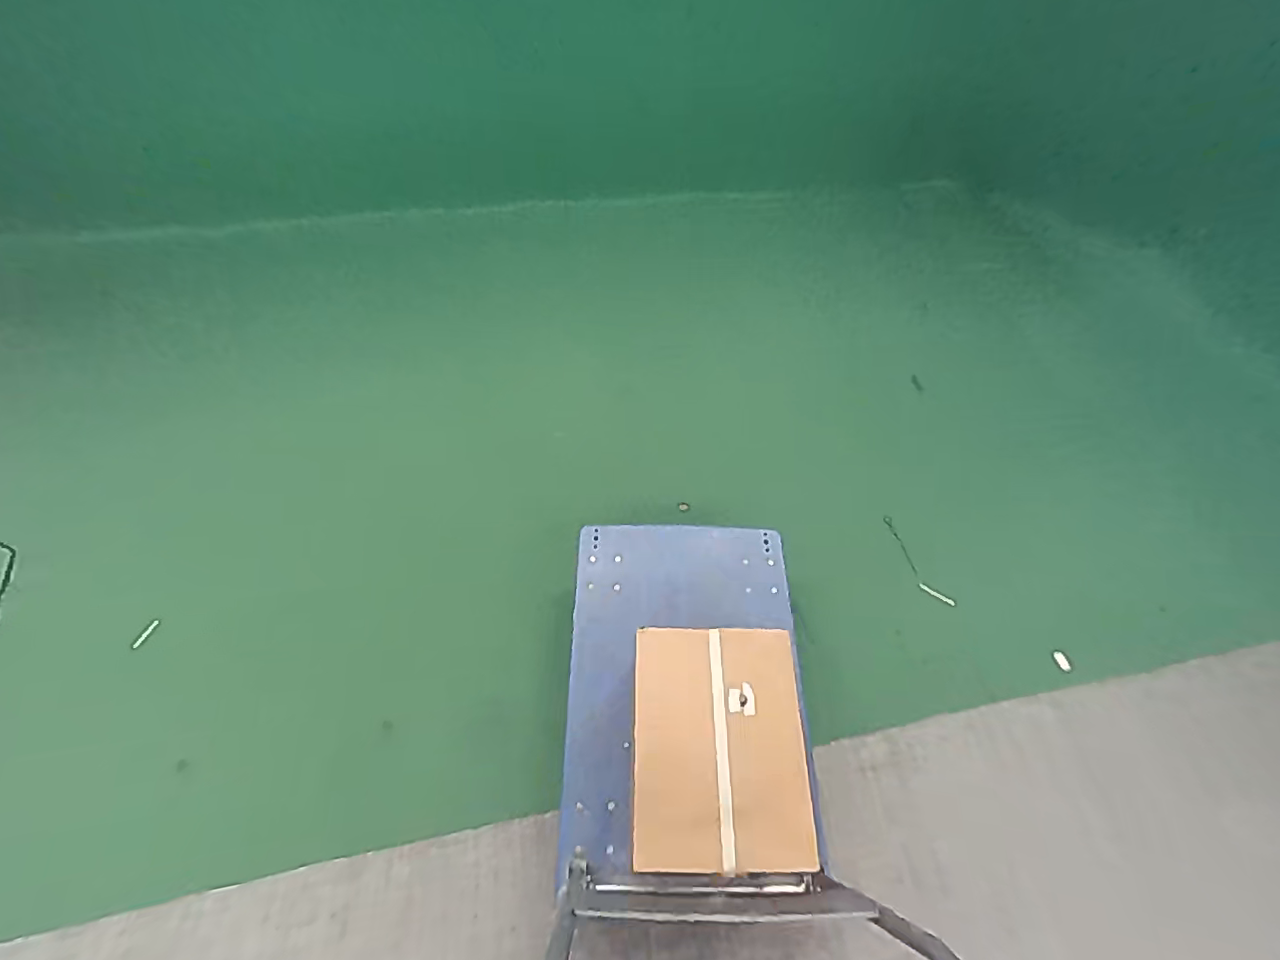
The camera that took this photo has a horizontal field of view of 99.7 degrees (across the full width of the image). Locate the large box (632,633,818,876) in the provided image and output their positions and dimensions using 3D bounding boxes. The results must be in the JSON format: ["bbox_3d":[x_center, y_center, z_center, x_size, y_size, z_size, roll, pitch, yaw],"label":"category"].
[{"bbox_3d":[0.139,0.560,1.120,0.320,0.320,0.408,2,59,-2],"label":"large box"}]
